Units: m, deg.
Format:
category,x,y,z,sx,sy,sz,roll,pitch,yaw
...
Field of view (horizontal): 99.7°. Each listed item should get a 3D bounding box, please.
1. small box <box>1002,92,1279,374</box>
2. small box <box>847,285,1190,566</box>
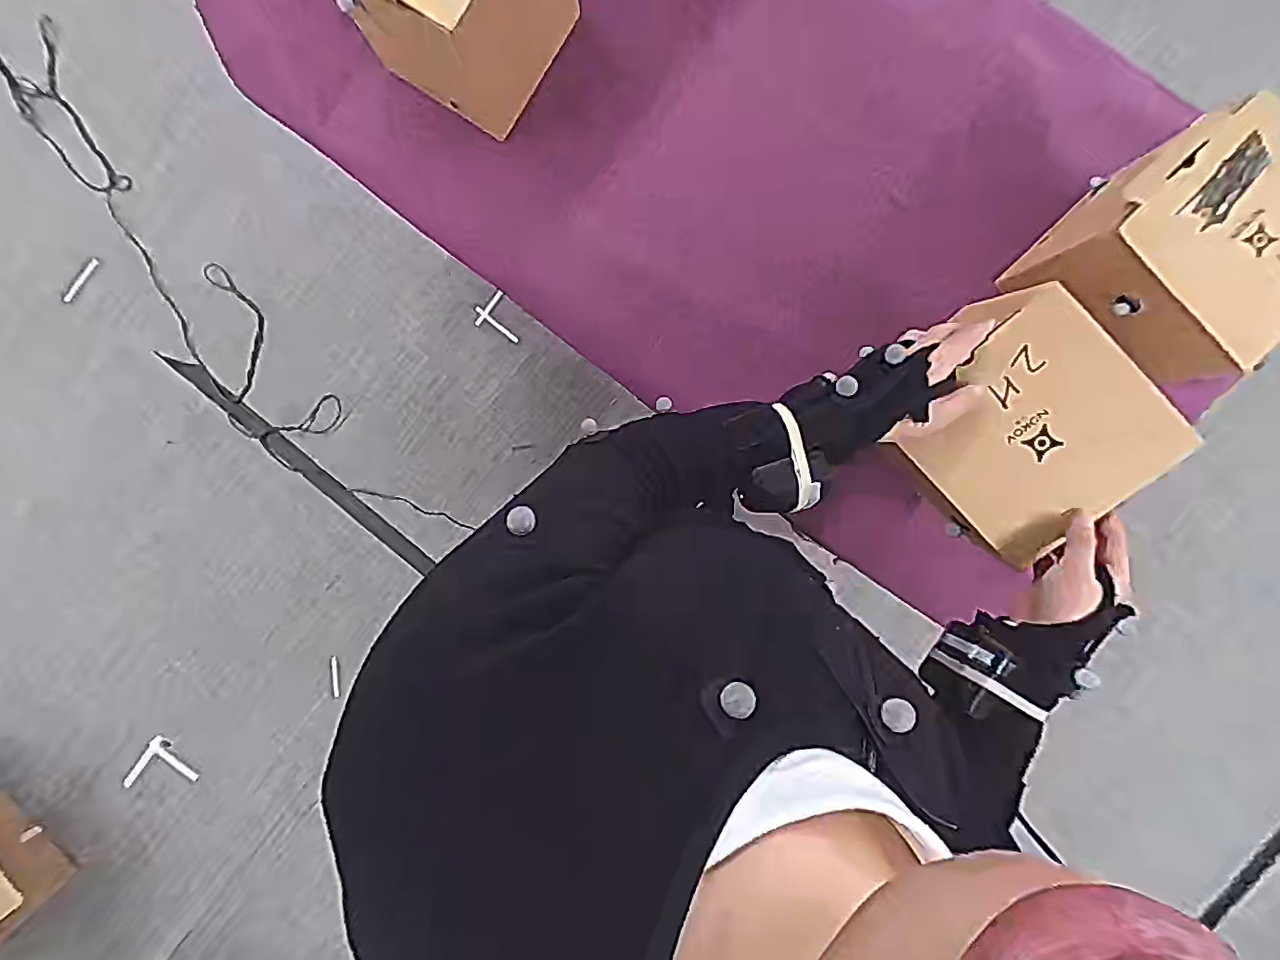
category,x,y,z,sx,sy,sz,roll,pitch,yaw
small box,0.526,-0.222,0.548,0.168,0.176,0.179,-45,92,5
small box,0.330,-0.055,0.516,0.168,0.176,0.179,-42,91,15
